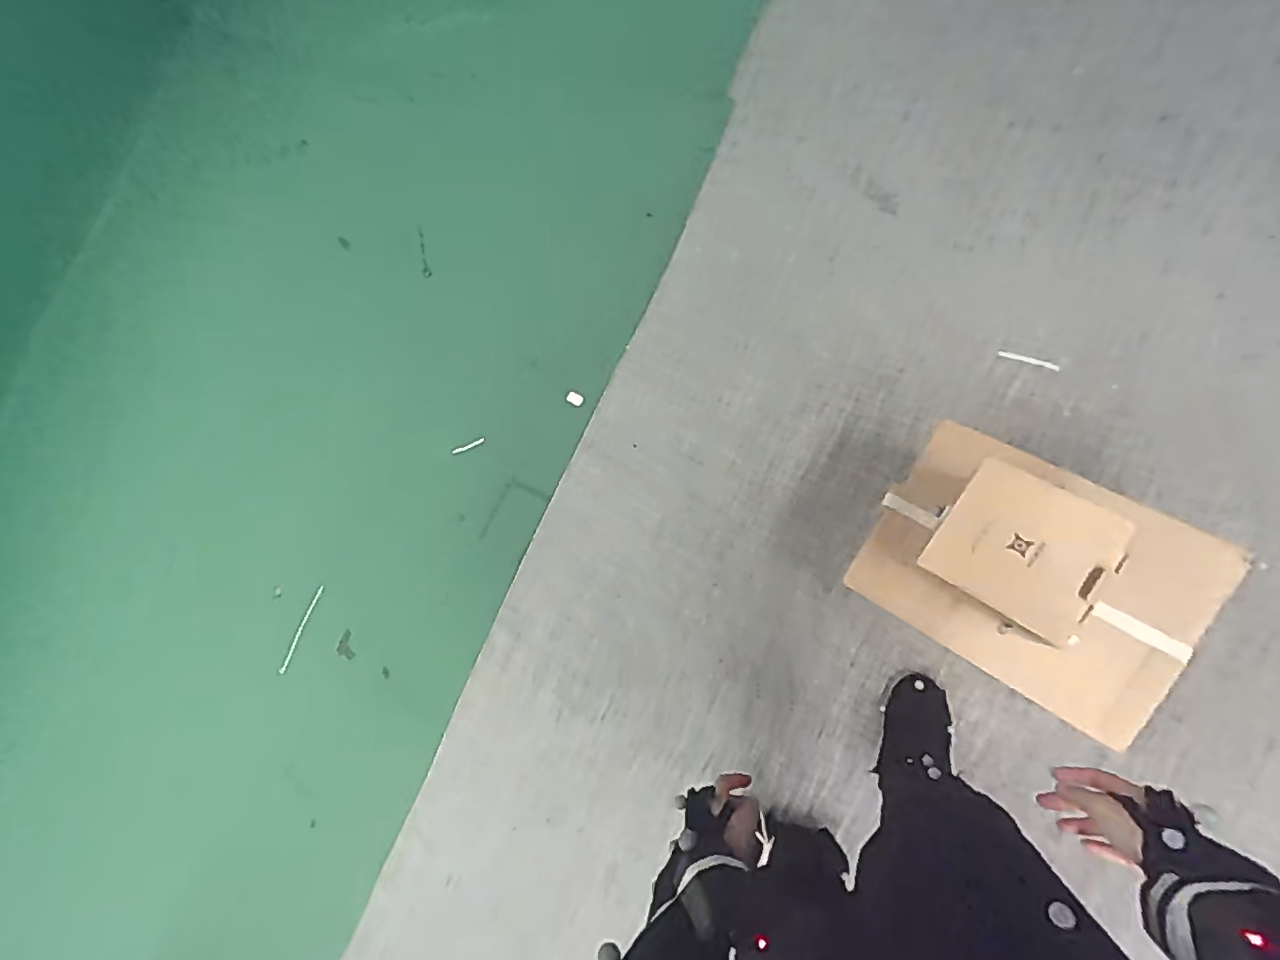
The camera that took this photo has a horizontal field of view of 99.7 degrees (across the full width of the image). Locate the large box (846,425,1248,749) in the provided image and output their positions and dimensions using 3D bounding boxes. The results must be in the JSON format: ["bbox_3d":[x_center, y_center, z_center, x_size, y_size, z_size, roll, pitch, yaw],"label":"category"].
[{"bbox_3d":[0.611,0.159,0.920,0.408,0.320,0.320,32,94,23],"label":"large box"}]

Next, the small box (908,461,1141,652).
[{"bbox_3d":[0.484,0.100,0.716,0.179,0.176,0.168,34,92,25],"label":"small box"}]
